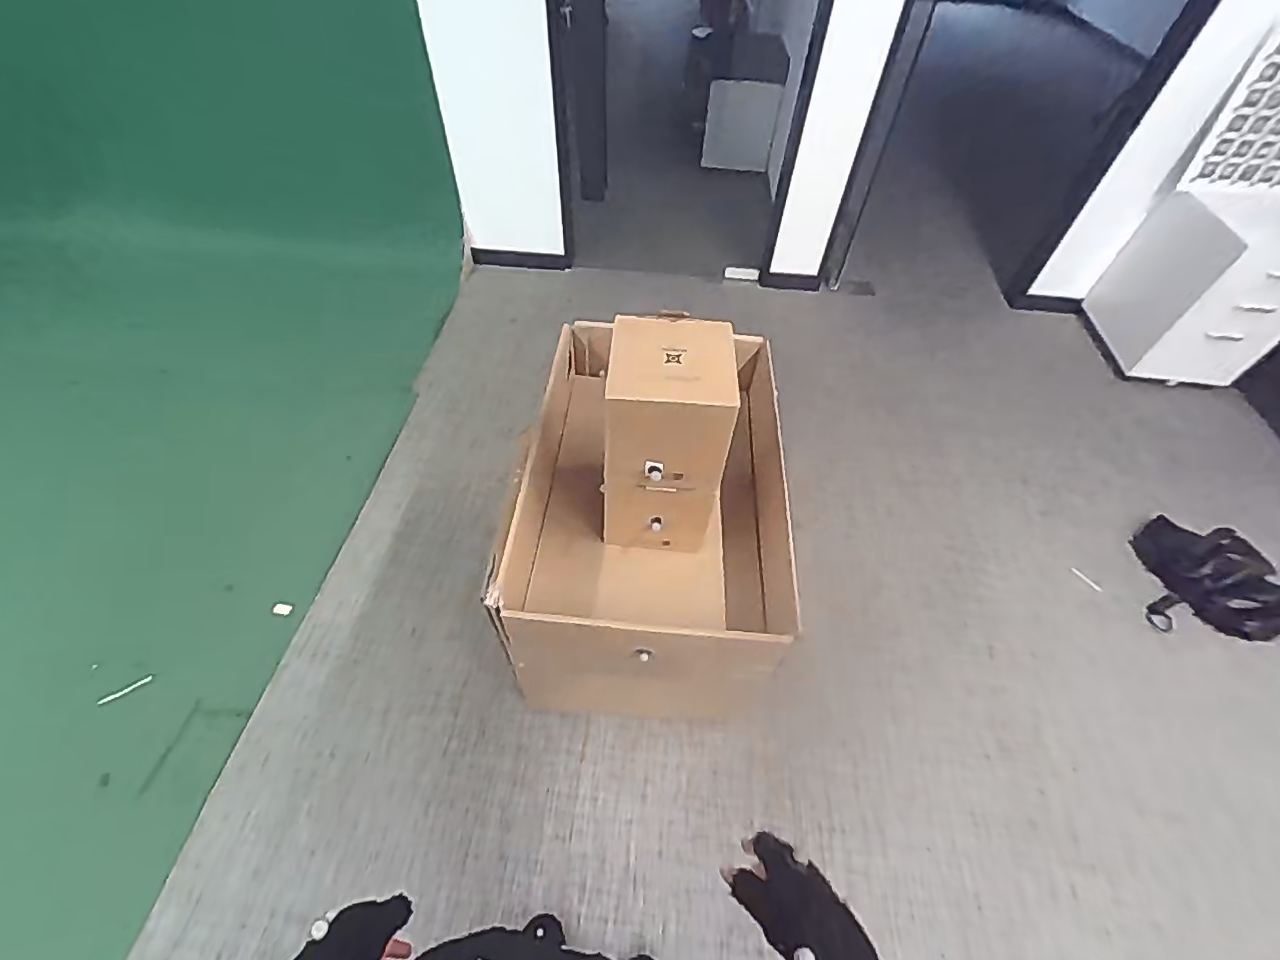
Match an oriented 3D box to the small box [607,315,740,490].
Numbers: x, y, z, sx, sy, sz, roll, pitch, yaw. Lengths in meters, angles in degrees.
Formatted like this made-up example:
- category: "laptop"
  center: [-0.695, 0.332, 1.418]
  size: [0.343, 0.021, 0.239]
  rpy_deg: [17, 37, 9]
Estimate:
- category: "small box"
  center: [0.040, -0.109, 0.768]
  size: [0.168, 0.176, 0.179]
  rpy_deg: [3, 51, 0]
